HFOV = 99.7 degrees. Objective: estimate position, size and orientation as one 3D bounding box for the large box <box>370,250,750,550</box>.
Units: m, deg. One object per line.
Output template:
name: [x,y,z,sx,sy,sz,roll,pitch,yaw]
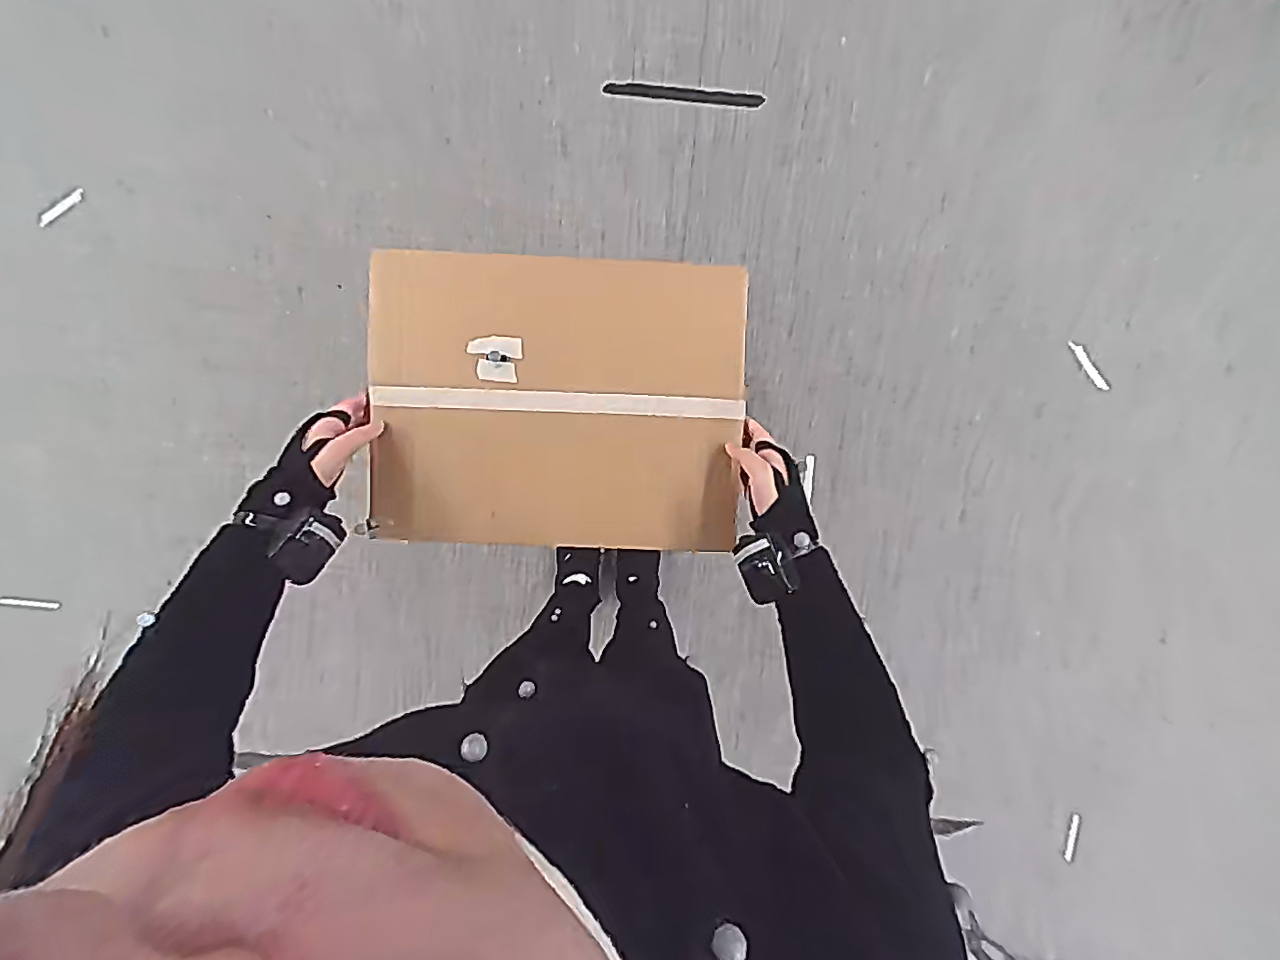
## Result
large box: [-0.085,-0.094,0.720,0.408,0.320,0.320,2,93,0]
